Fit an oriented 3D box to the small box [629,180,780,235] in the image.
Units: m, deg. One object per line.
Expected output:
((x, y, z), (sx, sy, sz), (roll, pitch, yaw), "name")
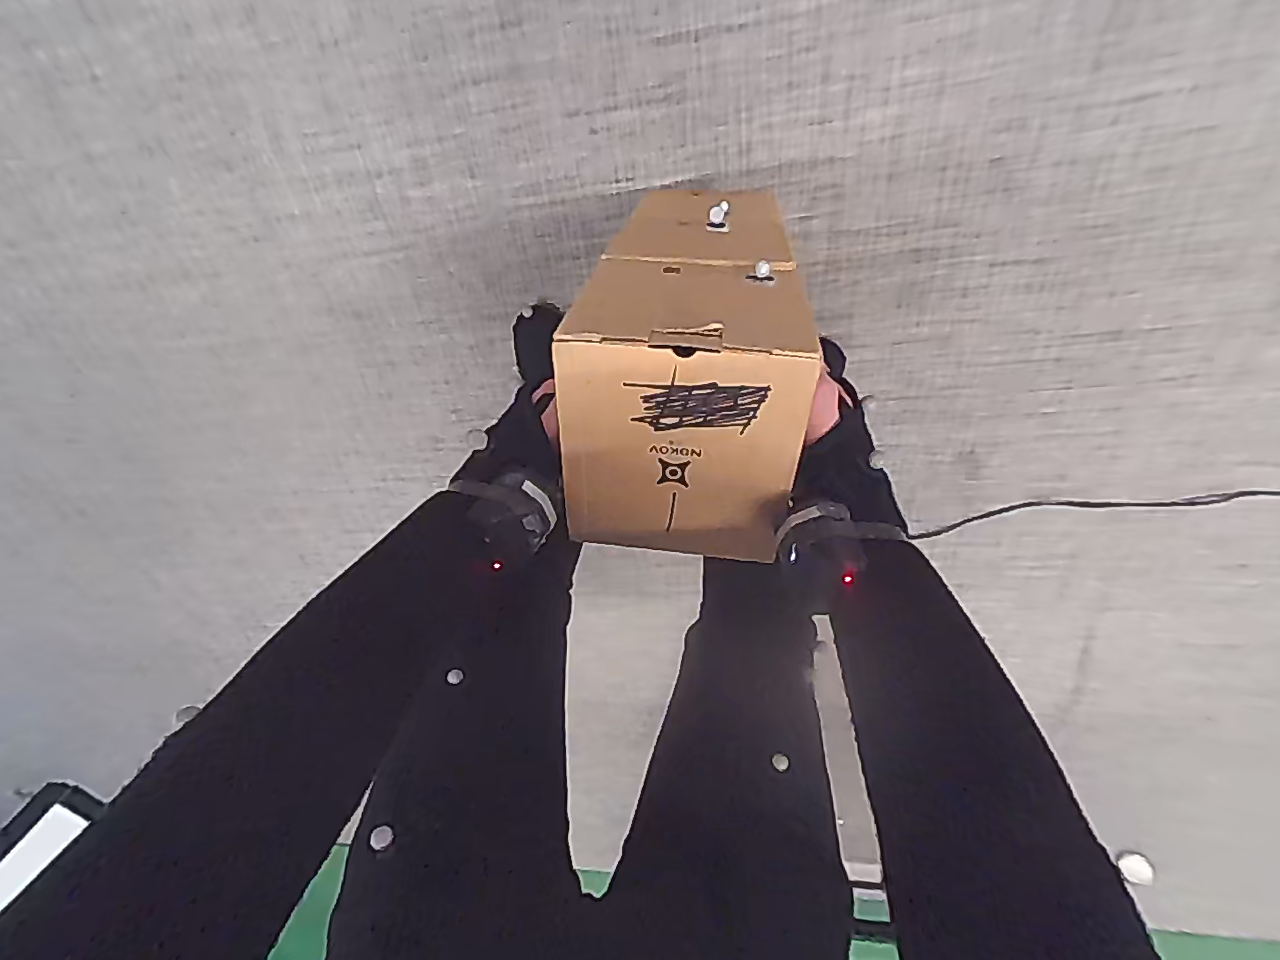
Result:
((0.080, -0.265, 0.689), (0.168, 0.176, 0.179), (6, 128, 7), "small box")

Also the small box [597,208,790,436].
((0.055, -0.168, 0.561), (0.168, 0.176, 0.179), (5, 127, 7), "small box")
